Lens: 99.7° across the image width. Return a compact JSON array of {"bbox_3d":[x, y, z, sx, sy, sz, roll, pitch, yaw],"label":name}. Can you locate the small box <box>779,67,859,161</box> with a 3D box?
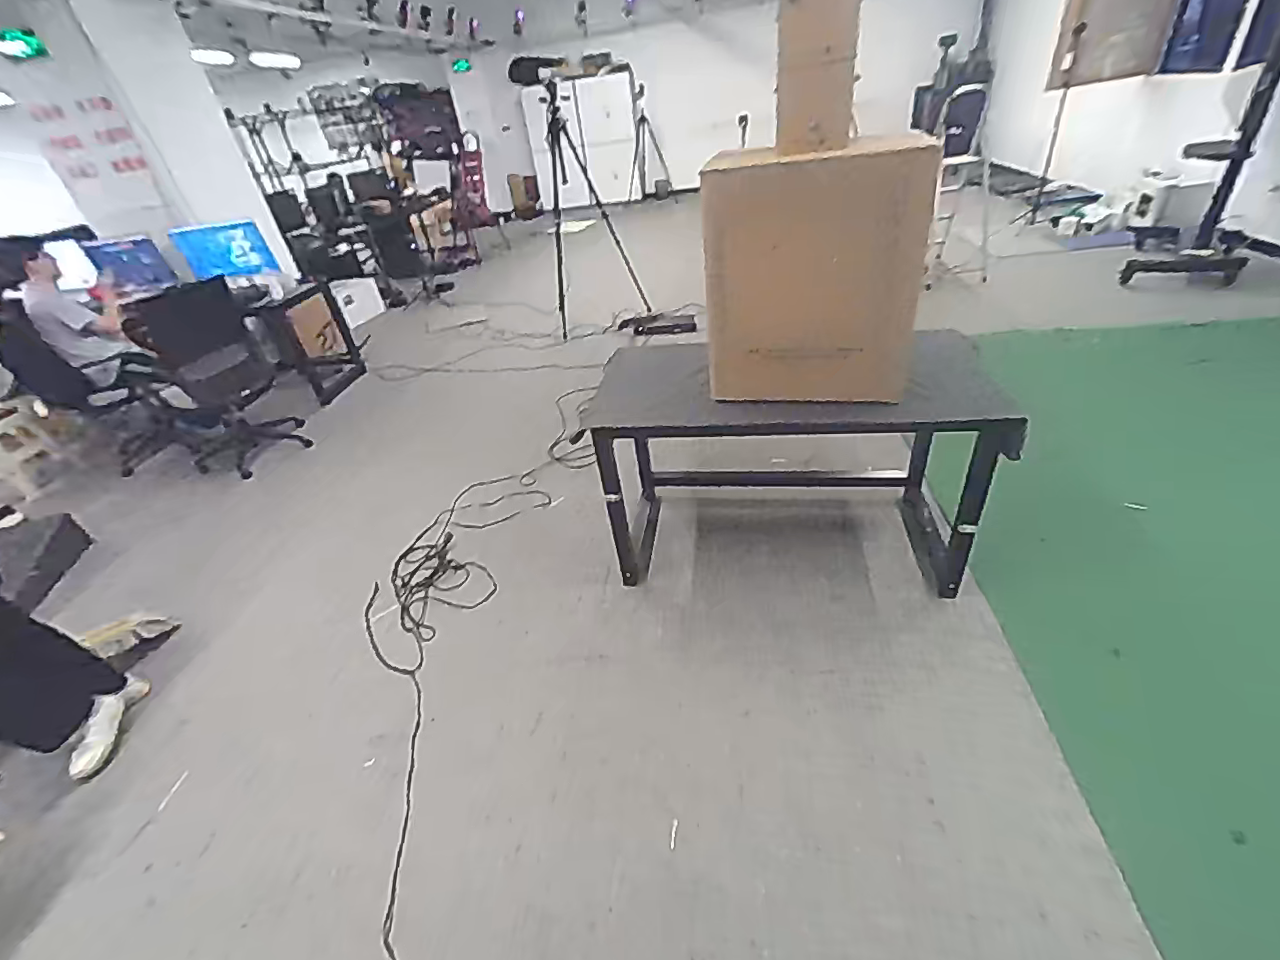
[{"bbox_3d":[0.426,-0.875,1.297,0.168,0.176,0.179,4,39,17],"label":"small box"}]
